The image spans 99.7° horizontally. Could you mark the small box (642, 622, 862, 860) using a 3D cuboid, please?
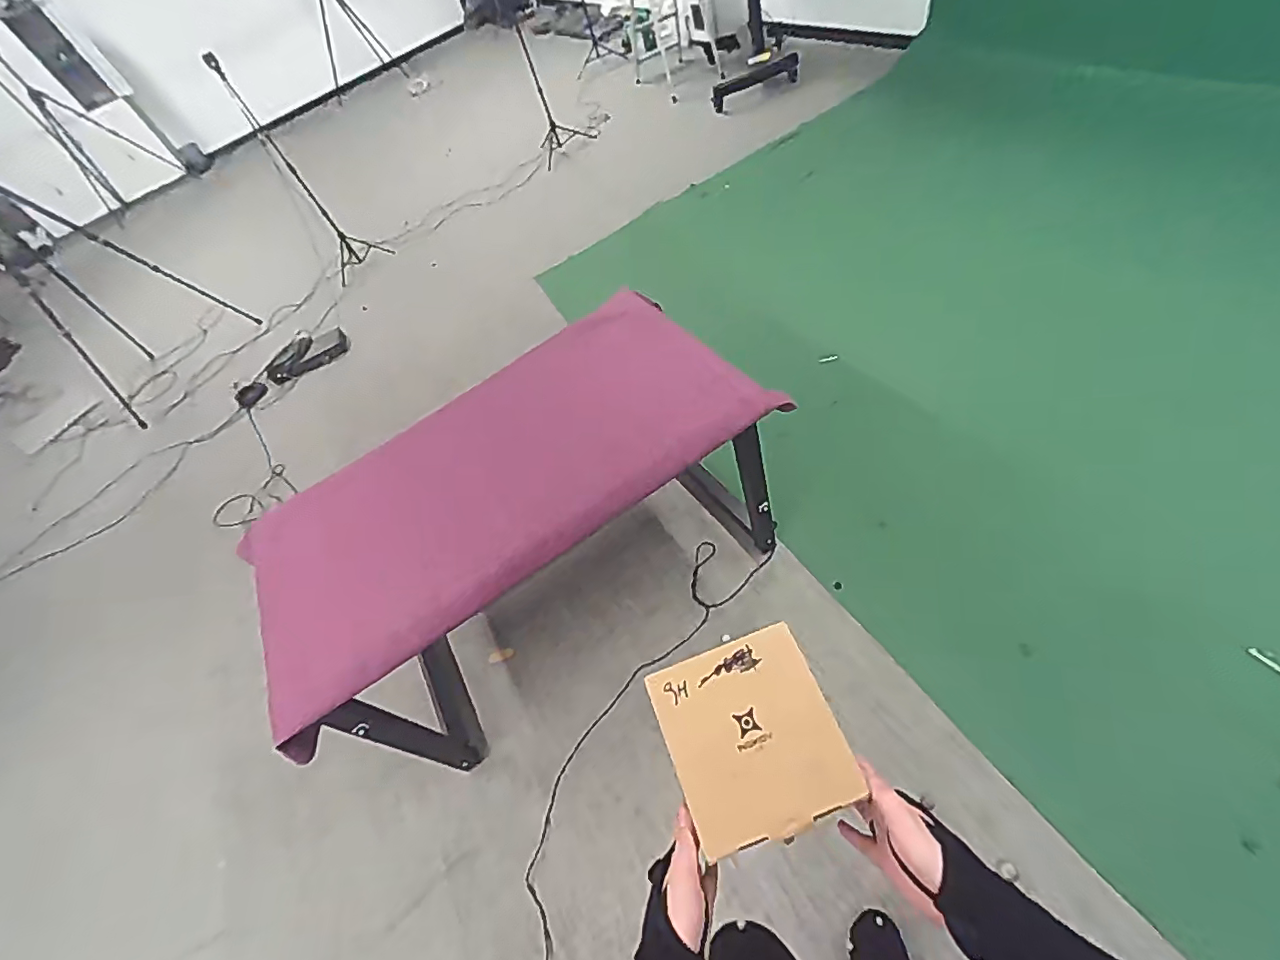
[{"bbox_3d":[0.115,0.286,0.606,0.168,0.176,0.179,-21,61,-4],"label":"small box"}]
